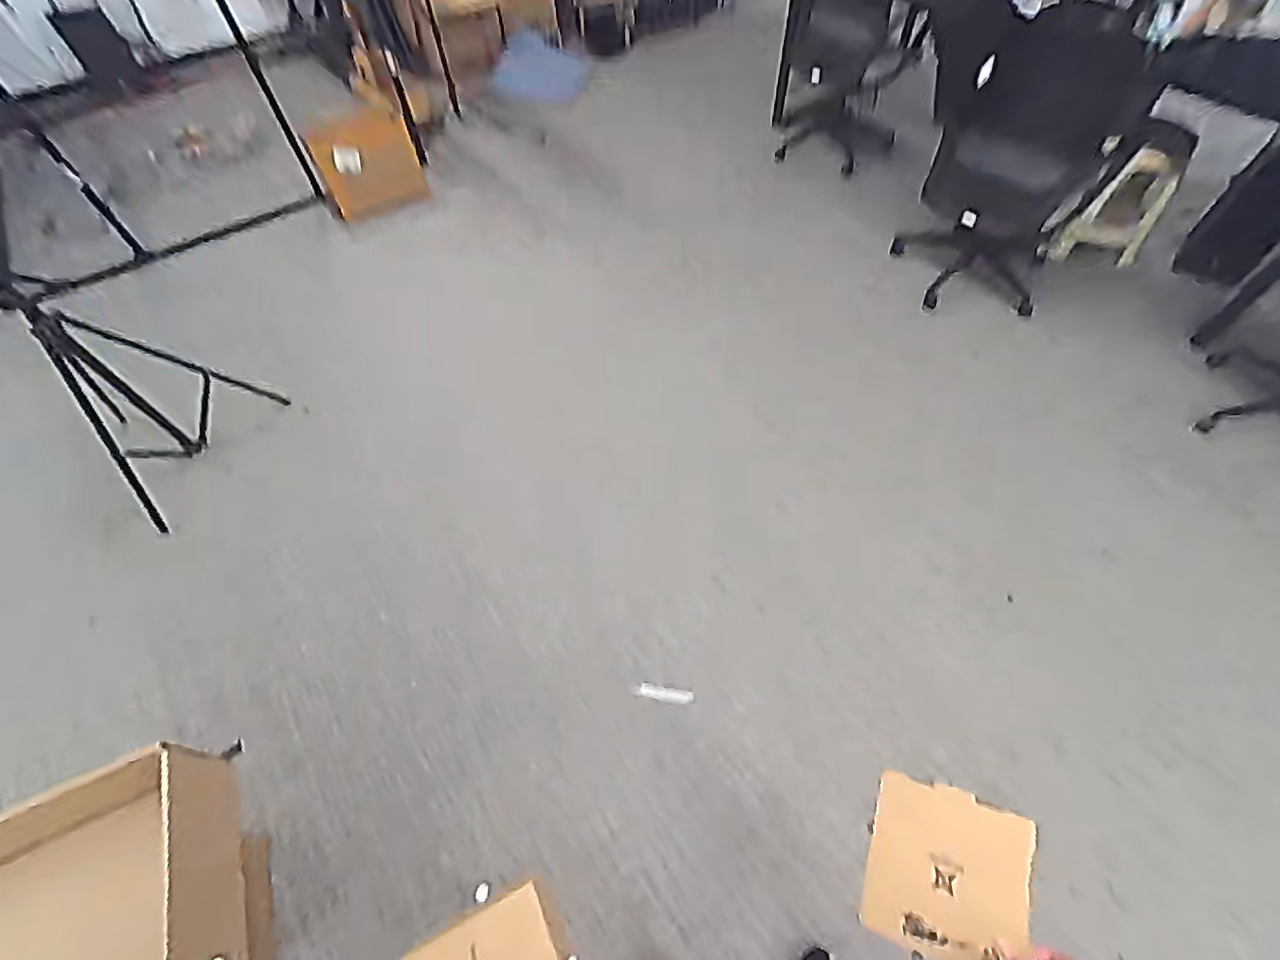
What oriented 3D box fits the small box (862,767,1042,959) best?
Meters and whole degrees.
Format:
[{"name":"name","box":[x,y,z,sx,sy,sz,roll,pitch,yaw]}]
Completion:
[{"name":"small box","box":[0.388,0.493,0.679,0.168,0.176,0.179,6,61,33]}]

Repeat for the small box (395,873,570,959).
[{"name":"small box","box":[-0.171,0.607,0.640,0.168,0.176,0.179,-22,63,-18]}]
